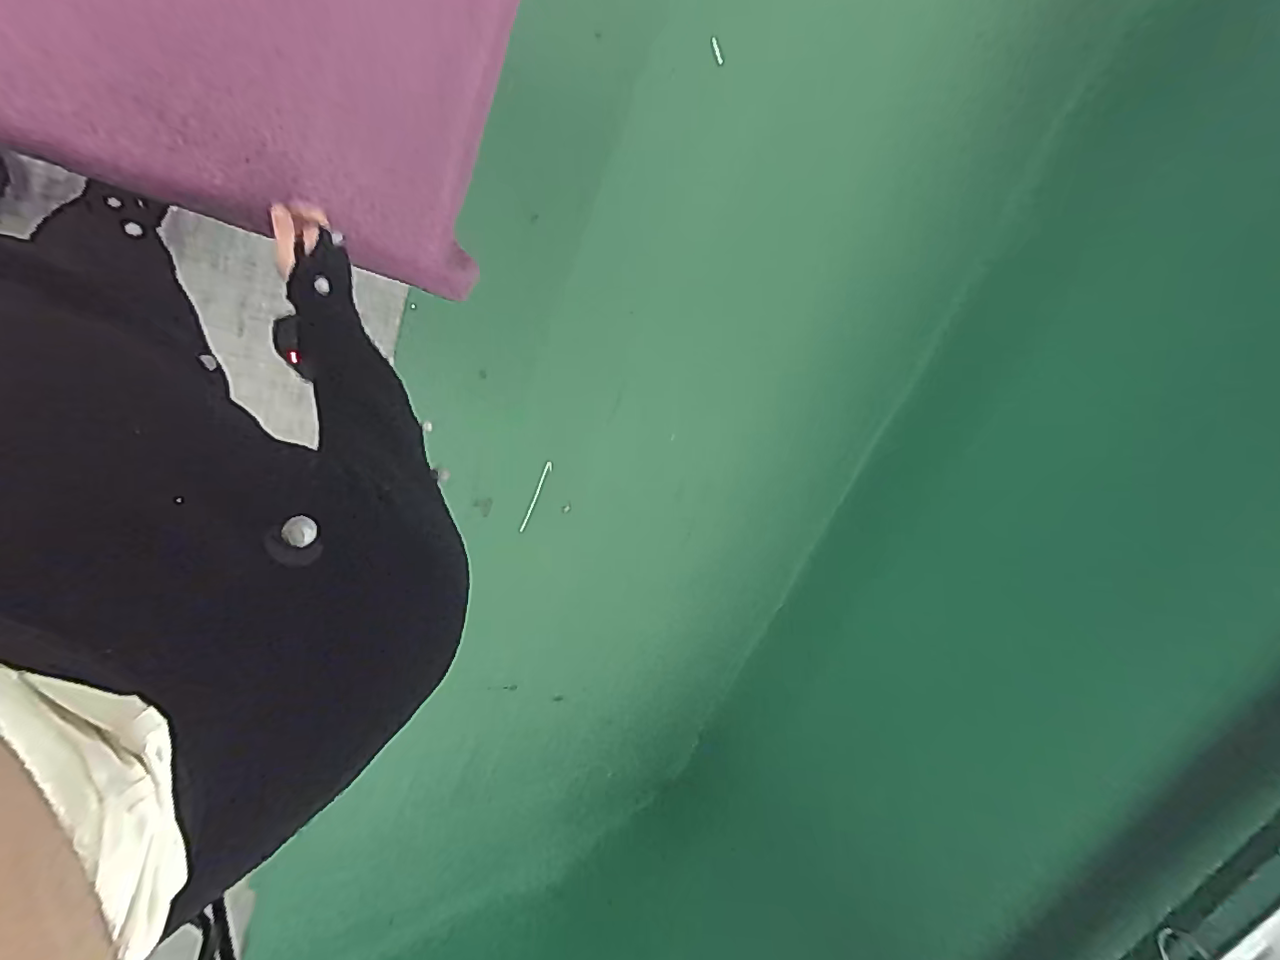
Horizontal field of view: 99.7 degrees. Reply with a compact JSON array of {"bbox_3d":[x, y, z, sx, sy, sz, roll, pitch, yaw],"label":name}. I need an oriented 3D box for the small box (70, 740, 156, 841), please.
[{"bbox_3d":[-1.560,0.915,1.606,0.168,0.176,0.179,7,115,-45],"label":"small box"}]
